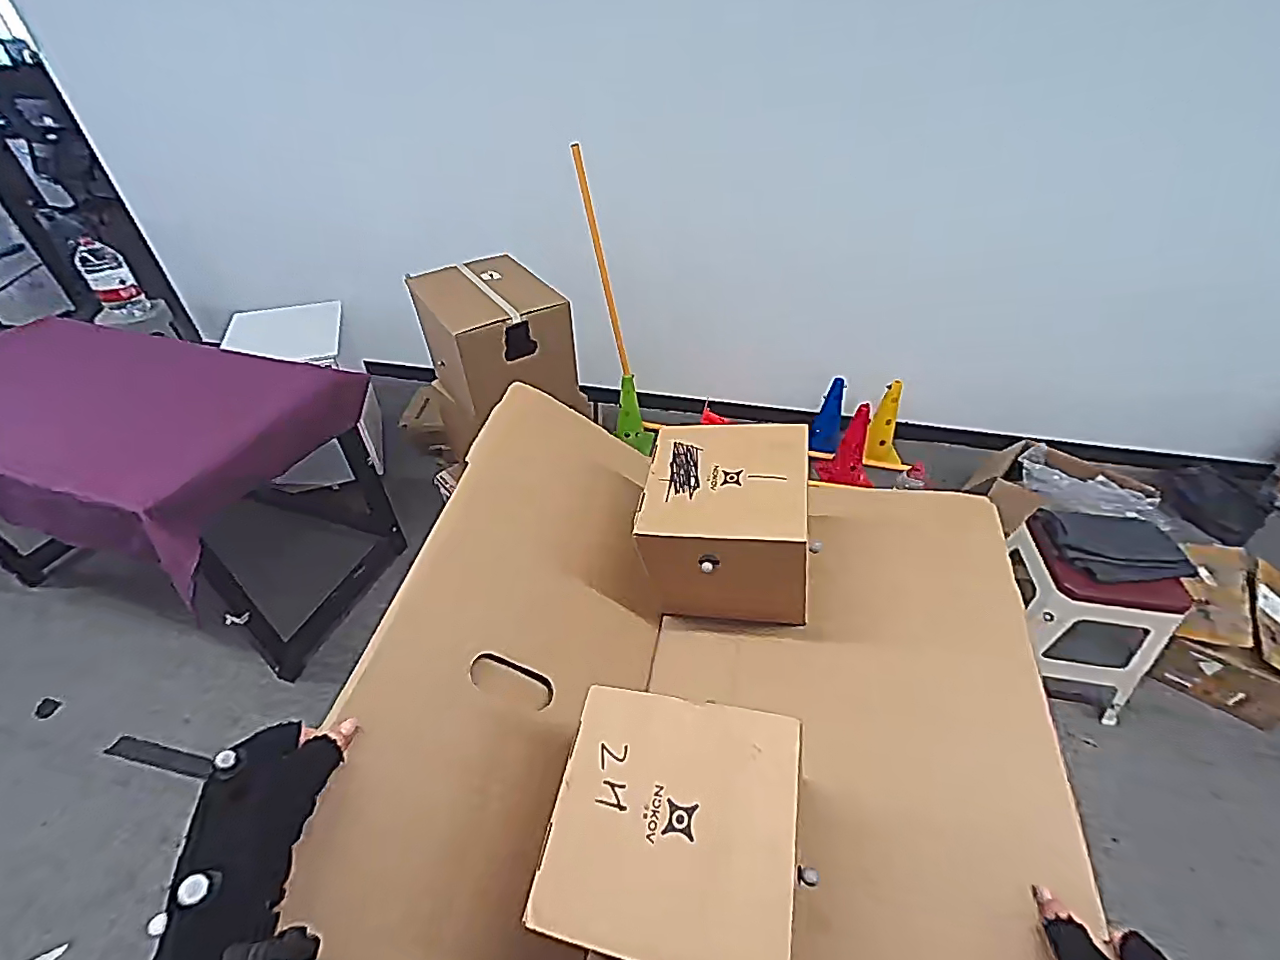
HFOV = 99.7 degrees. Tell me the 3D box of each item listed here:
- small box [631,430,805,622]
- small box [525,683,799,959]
[{"bbox_3d":[0.106,0.057,0.654,0.179,0.176,0.168,1,49,17],"label":"small box"},{"bbox_3d":[0.038,0.295,0.453,0.179,0.176,0.168,2,49,19],"label":"small box"}]
